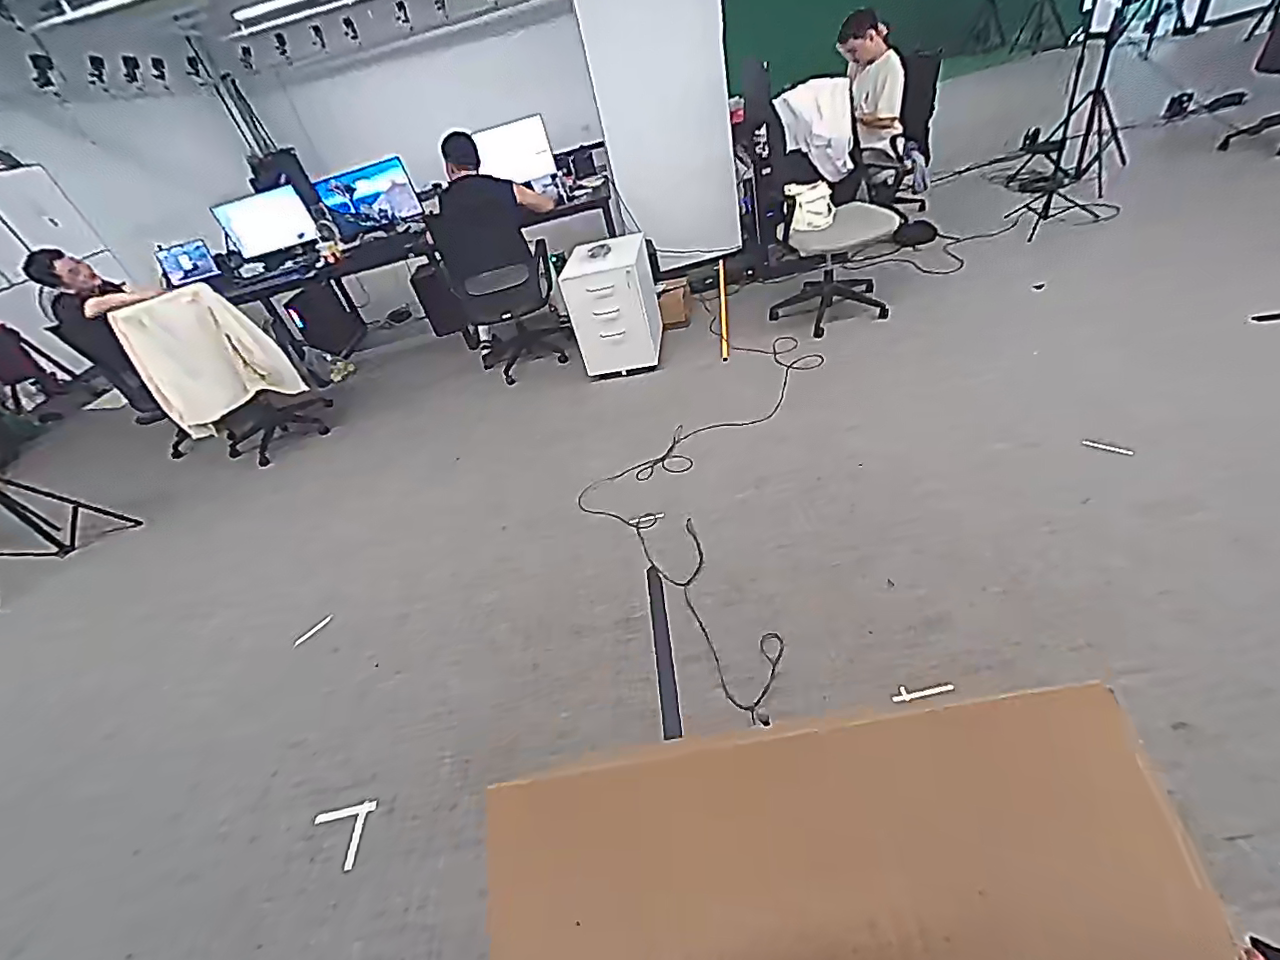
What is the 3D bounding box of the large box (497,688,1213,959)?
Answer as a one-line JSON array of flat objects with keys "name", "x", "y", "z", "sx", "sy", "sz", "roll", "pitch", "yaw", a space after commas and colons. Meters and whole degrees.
[{"name": "large box", "x": 0.144, "y": 0.370, "z": 0.438, "sx": 0.408, "sy": 0.320, "sz": 0.320, "roll": -13, "pitch": 66, "yaw": 5}]
